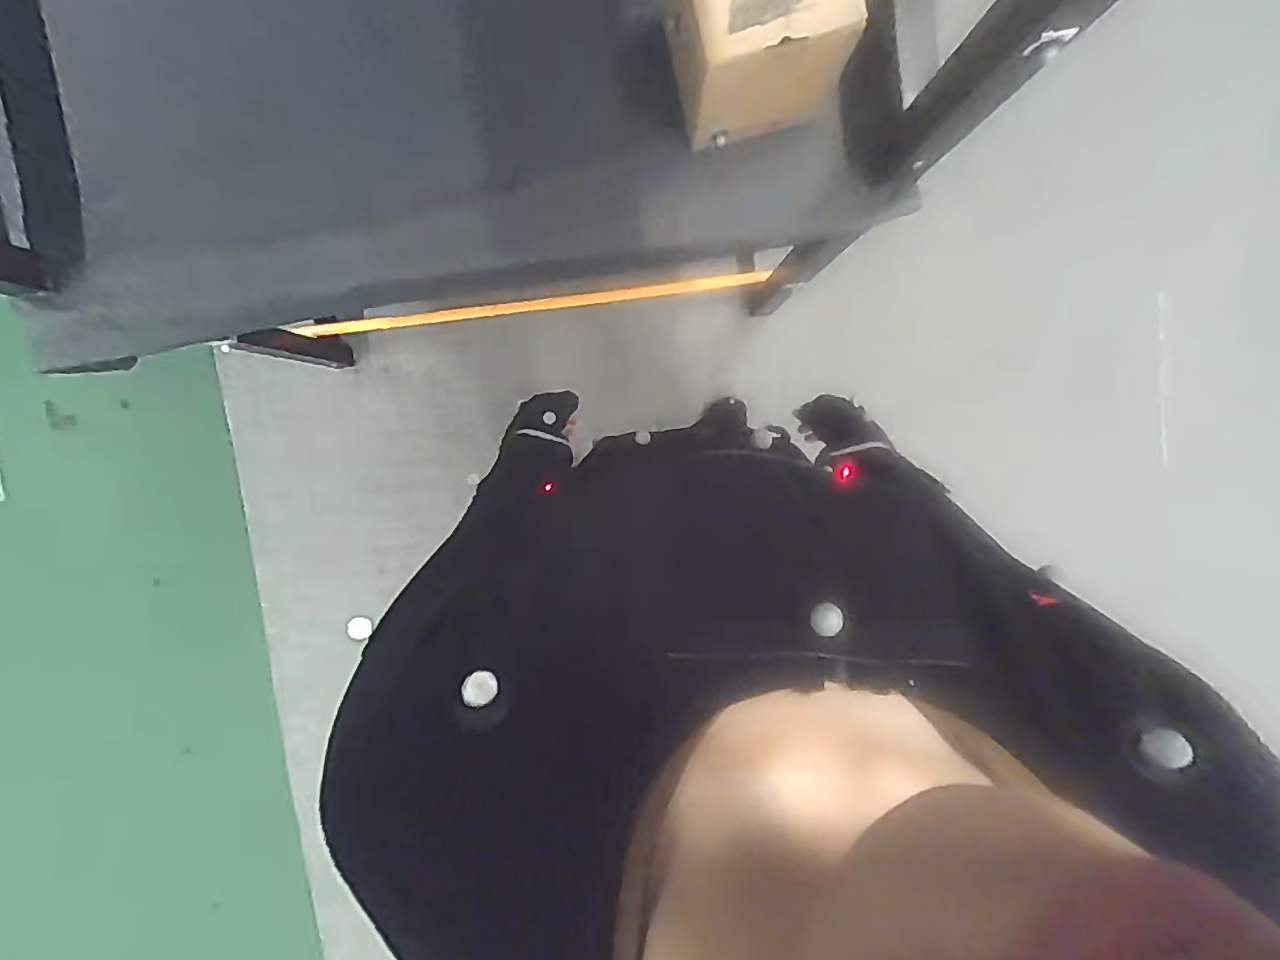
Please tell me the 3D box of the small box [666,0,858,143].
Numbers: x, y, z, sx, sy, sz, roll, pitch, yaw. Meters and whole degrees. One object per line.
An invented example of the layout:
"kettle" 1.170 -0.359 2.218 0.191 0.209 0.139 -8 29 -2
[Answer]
"small box" 0.127 -0.524 0.624 0.168 0.176 0.179 -13 93 2
